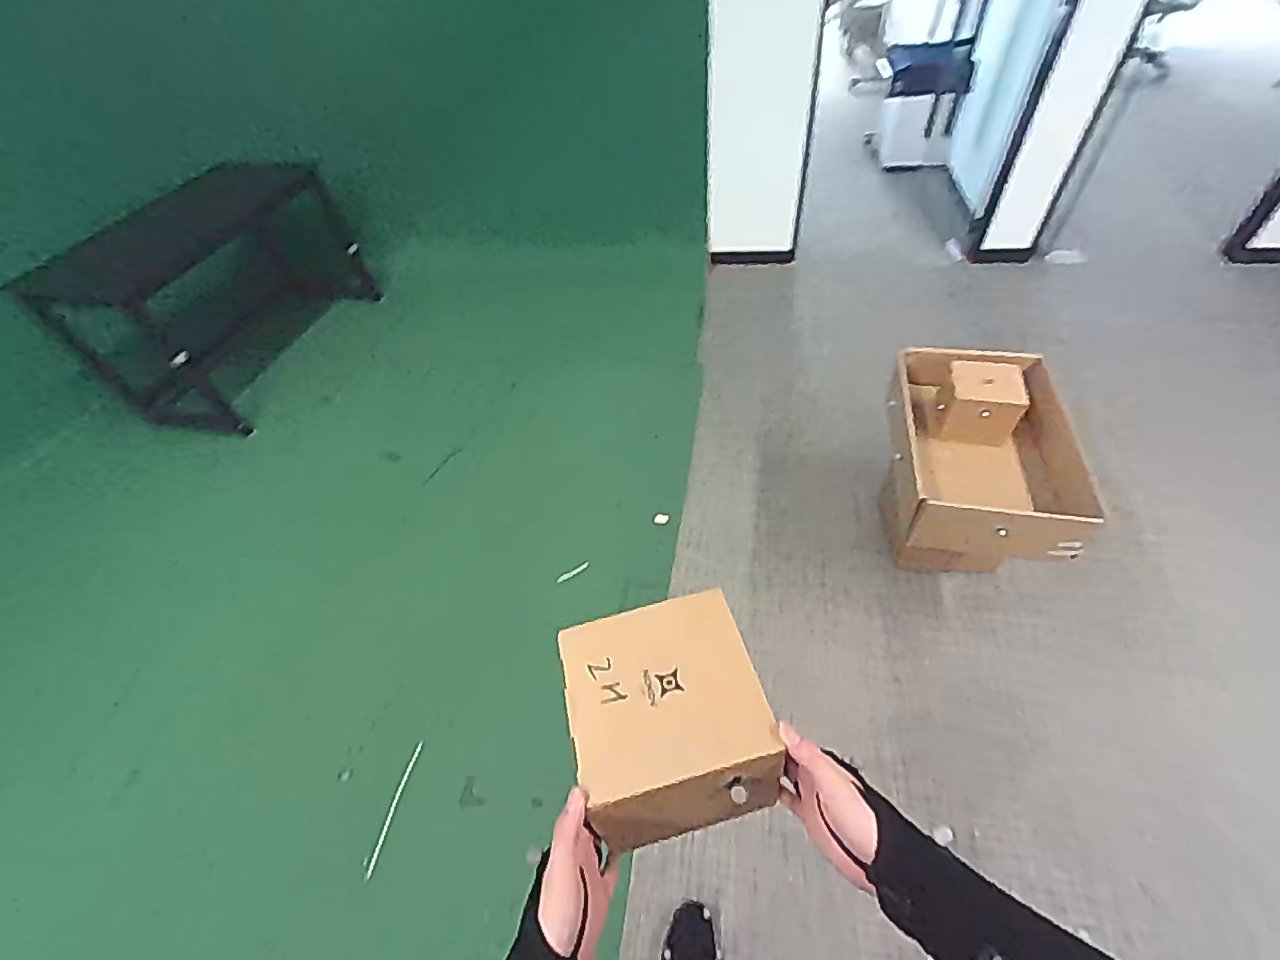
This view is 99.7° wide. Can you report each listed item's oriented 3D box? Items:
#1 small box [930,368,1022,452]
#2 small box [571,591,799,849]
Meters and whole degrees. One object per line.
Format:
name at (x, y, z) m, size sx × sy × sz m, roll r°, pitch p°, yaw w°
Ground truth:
small box at (0.956, -0.199, 1.560) m, size 0.179 × 0.176 × 0.168 m, roll 9°, pitch 51°, yaw 12°
small box at (0.038, 0.243, 0.548) m, size 0.179 × 0.176 × 0.168 m, roll -13°, pitch 44°, yaw -5°
